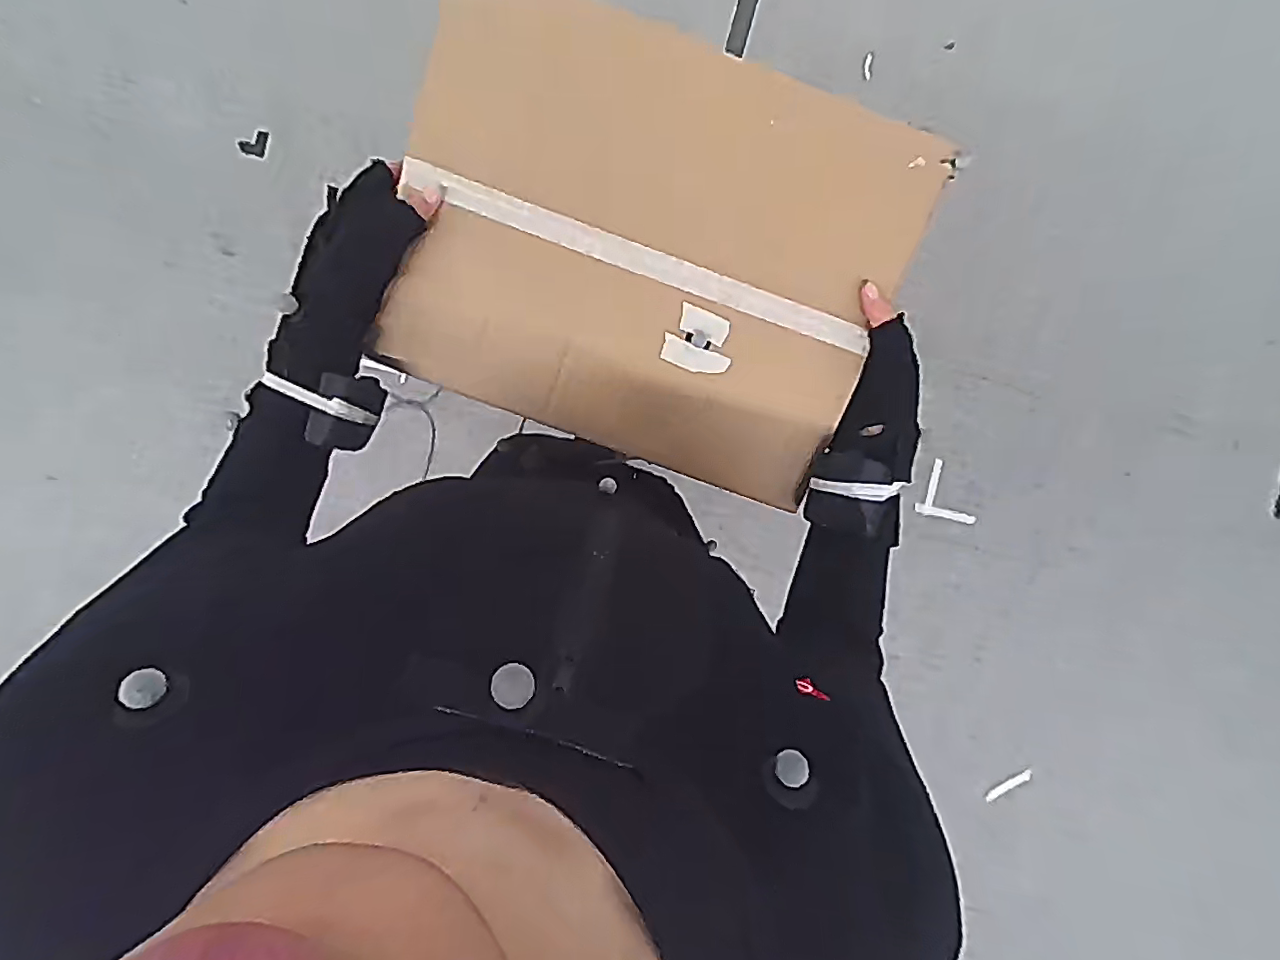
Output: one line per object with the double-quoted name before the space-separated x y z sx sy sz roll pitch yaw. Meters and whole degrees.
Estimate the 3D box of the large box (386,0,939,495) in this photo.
"large box" 0.009 -0.222 0.603 0.408 0.320 0.320 20 105 -4
